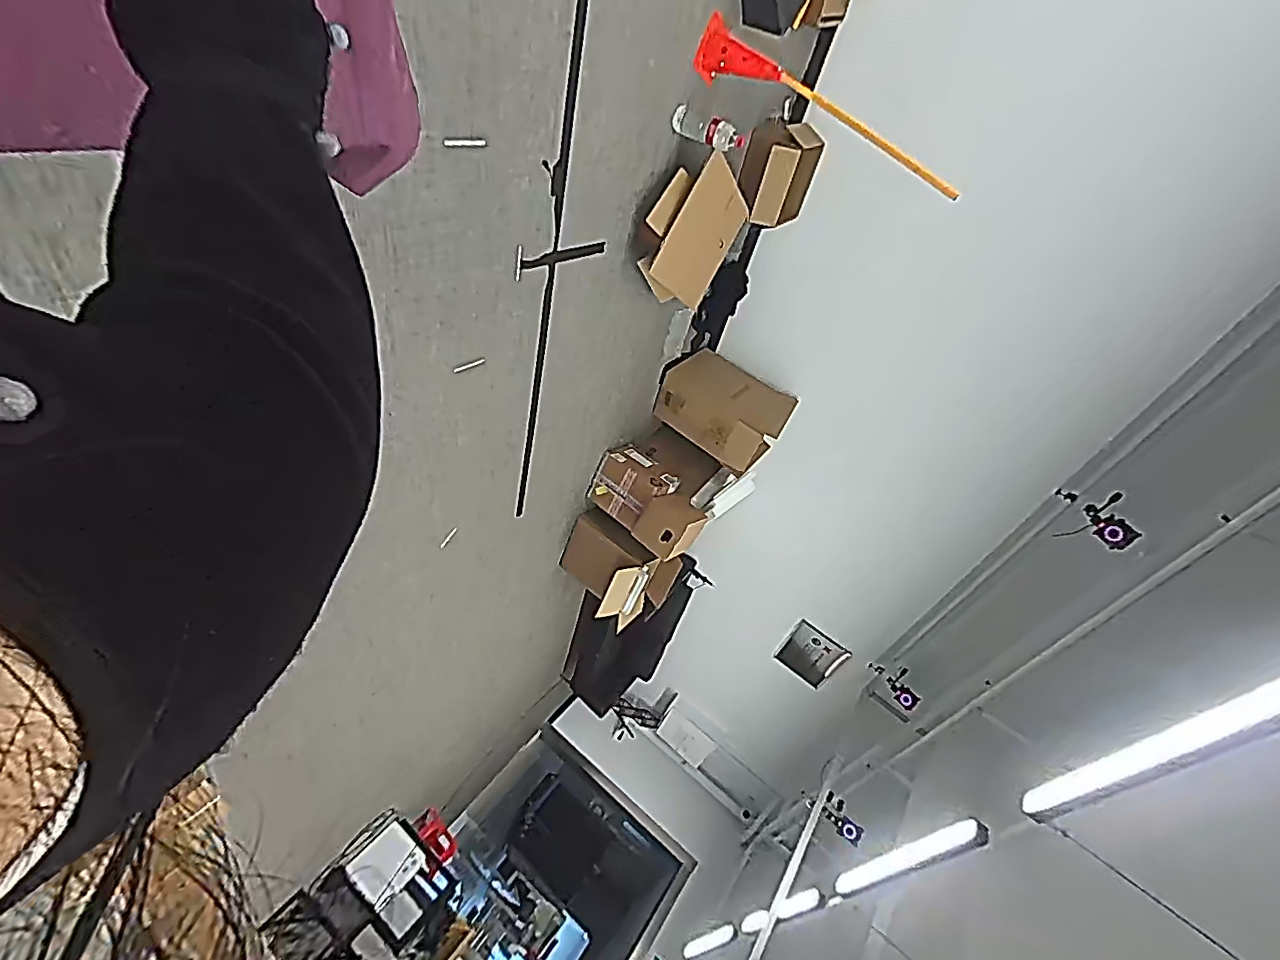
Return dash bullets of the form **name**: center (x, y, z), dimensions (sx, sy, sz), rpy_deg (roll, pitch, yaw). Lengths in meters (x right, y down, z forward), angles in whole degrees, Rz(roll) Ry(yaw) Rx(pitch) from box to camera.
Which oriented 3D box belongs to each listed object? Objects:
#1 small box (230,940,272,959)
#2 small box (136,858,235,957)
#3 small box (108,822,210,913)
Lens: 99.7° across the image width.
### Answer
- **small box**: center (-1.168, 1.513, 1.595), dimensions (0.168, 0.176, 0.179), rpy_deg (-36, 153, -45)
- **small box**: center (-1.427, 1.340, 1.702), dimensions (0.168, 0.176, 0.179), rpy_deg (-38, 153, -43)
- **small box**: center (-1.558, 1.261, 1.755), dimensions (0.179, 0.176, 0.168), rpy_deg (-37, 153, -42)
